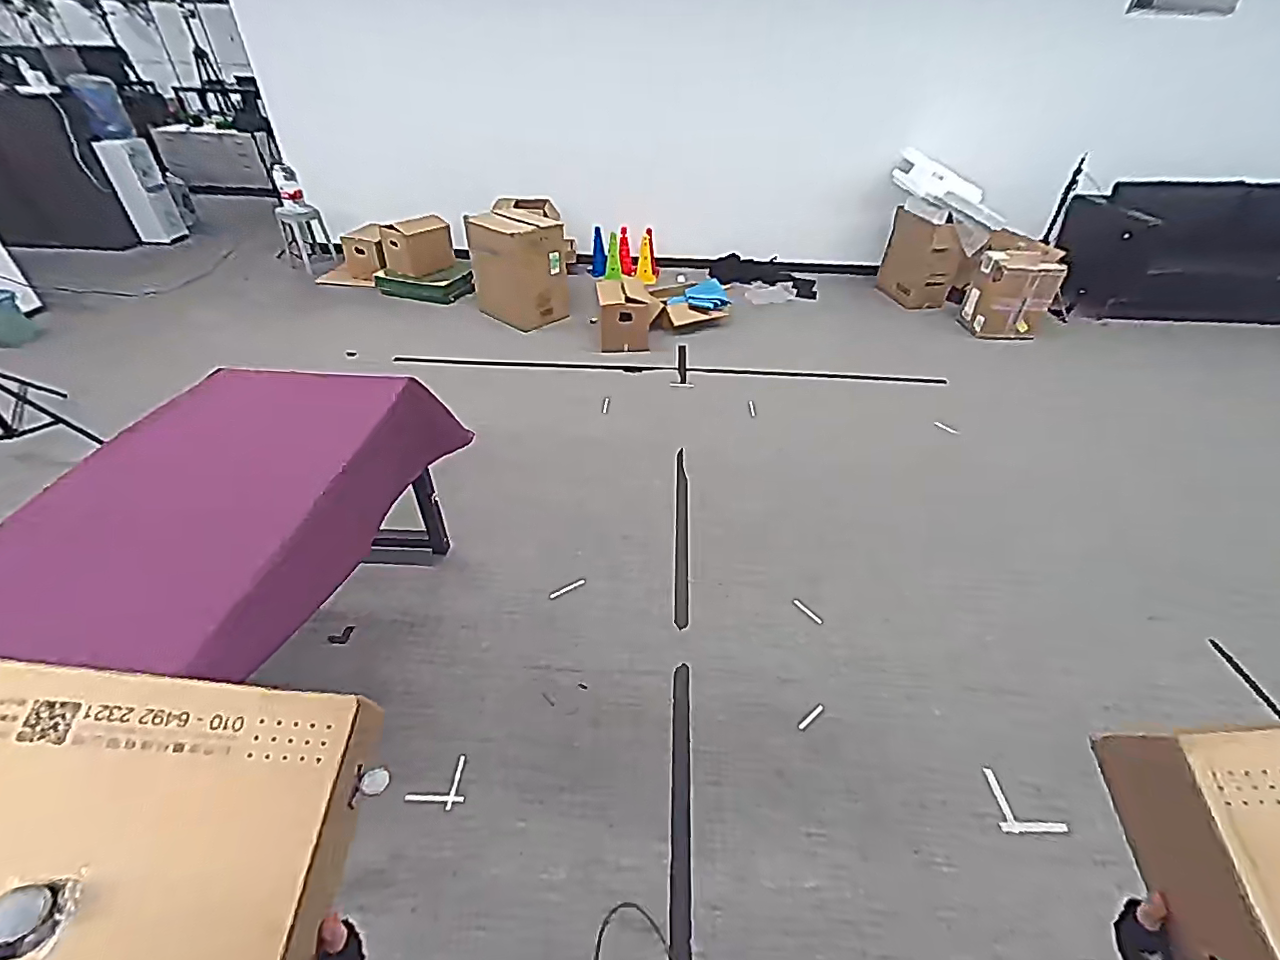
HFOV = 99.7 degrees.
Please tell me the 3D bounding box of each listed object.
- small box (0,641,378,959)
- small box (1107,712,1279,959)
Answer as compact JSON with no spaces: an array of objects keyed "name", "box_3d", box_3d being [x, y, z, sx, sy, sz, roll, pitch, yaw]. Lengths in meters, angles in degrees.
[{"name":"small box","box_3d":[-0.234,0.177,0.247,0.168,0.179,0.176,14,62,-16]},{"name":"small box","box_3d":[0.391,0.212,0.280,0.168,0.179,0.176,-14,62,21]}]
